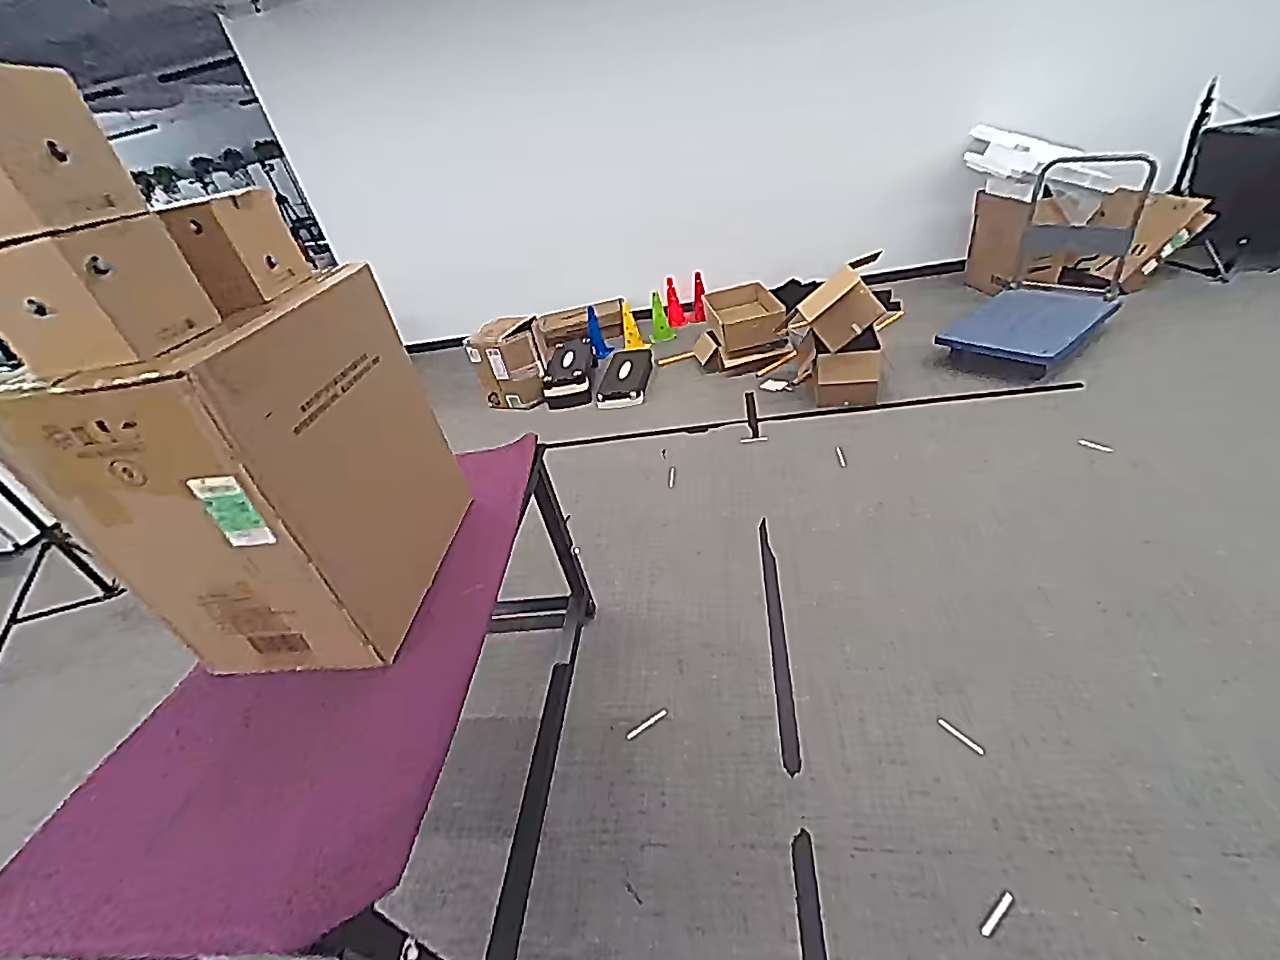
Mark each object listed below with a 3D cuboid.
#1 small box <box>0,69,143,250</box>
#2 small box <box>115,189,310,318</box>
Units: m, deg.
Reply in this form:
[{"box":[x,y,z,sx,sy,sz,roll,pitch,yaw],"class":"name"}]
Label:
[{"box":[-0.793,-0.389,0.668,0.179,0.176,0.168,-9,33,5],"class":"small box"},{"box":[-0.748,-0.404,0.970,0.179,0.176,0.168,-7,36,6],"class":"small box"}]
